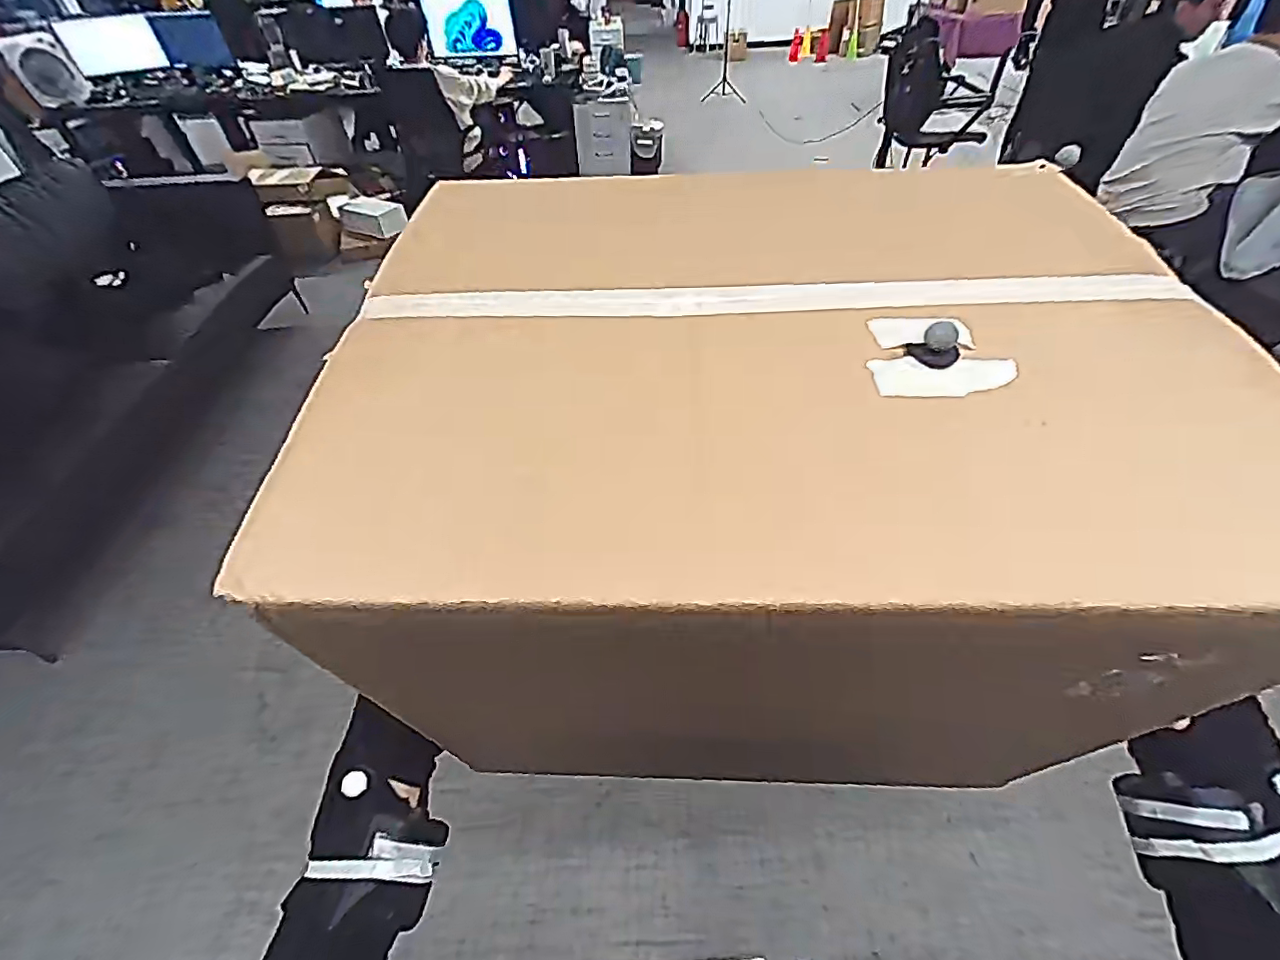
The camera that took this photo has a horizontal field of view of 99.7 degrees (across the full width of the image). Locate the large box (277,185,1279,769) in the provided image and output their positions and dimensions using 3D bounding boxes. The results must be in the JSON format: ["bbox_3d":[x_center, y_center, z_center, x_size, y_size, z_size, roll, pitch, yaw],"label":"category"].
[{"bbox_3d":[0.069,0.011,0.398,0.408,0.320,0.320,1,53,3],"label":"large box"}]
